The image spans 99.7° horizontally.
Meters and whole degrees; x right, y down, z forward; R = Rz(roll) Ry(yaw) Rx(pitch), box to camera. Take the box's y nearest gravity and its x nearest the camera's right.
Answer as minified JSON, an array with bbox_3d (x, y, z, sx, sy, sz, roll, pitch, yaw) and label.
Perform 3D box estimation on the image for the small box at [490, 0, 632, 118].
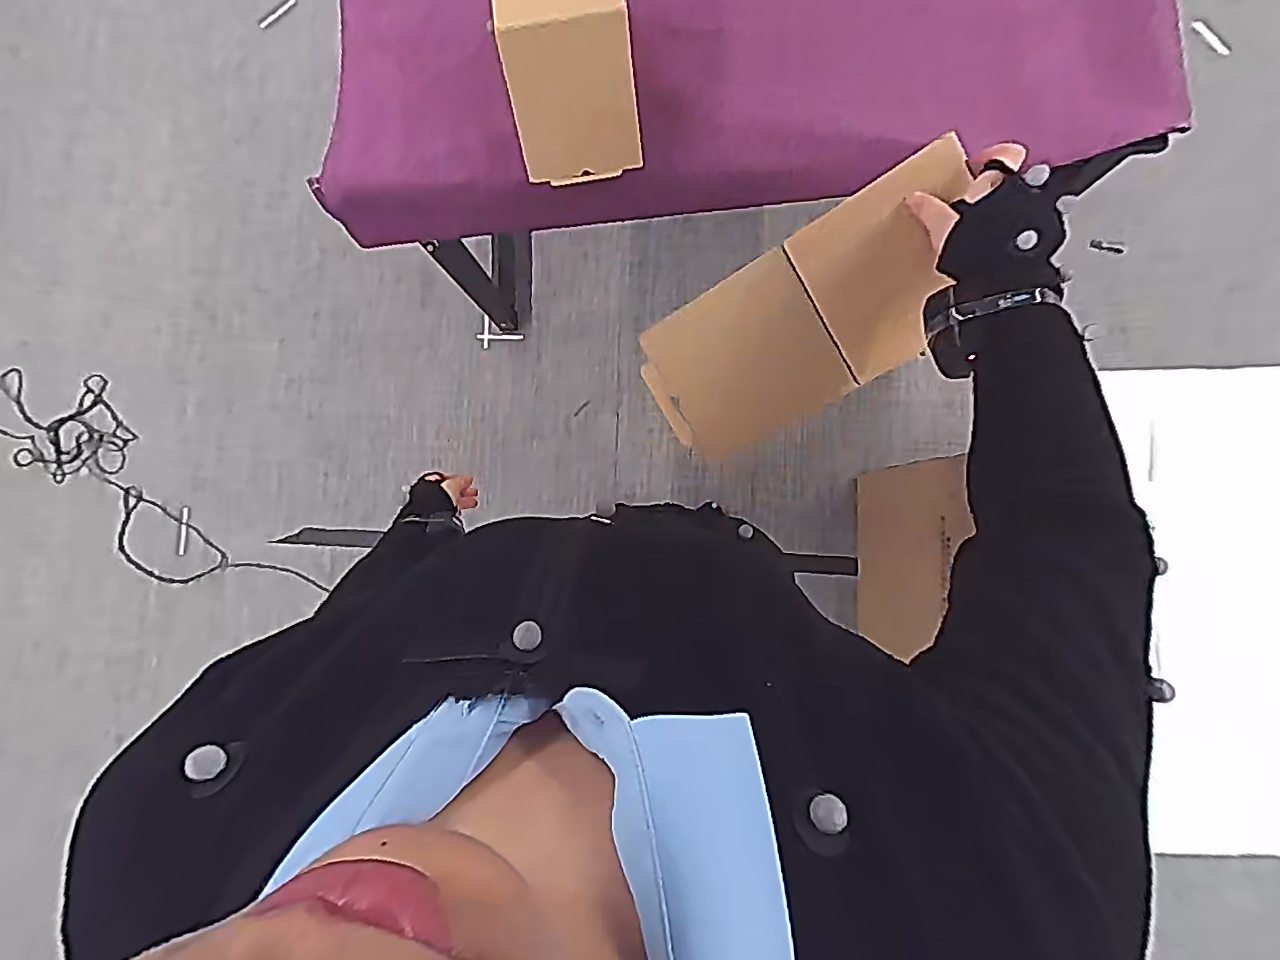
[{"bbox_3d":[-0.103,-0.637,0.747,0.168,0.176,0.179,-6,84,2],"label":"small box"}]
